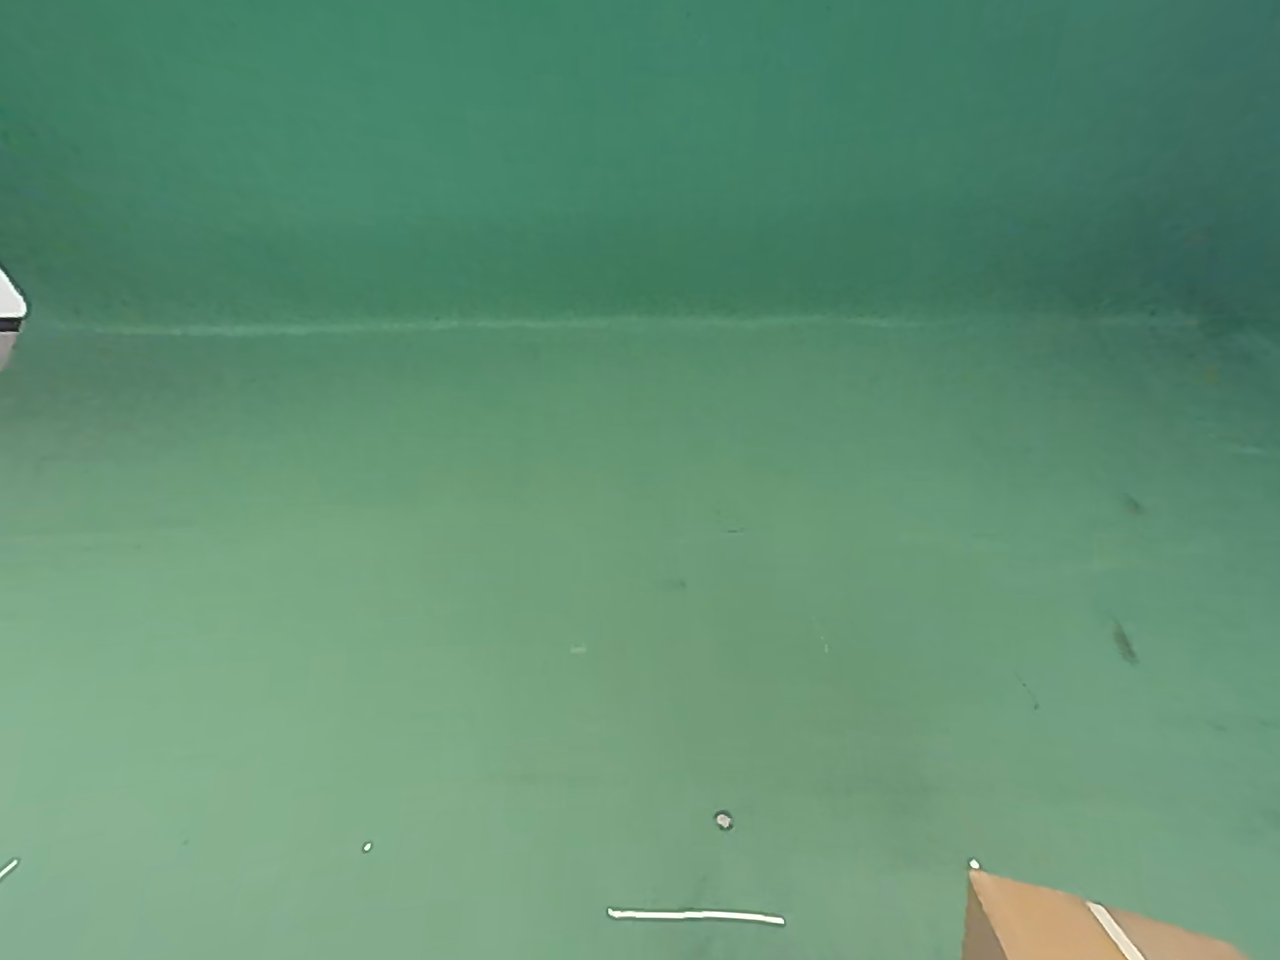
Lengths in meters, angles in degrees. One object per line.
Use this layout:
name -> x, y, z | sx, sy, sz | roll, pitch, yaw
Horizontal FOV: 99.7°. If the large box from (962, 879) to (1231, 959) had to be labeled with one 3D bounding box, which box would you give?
large box -> 0.559, 0.739, 0.565 | 0.320, 0.408, 0.320 | 7, 86, 18
